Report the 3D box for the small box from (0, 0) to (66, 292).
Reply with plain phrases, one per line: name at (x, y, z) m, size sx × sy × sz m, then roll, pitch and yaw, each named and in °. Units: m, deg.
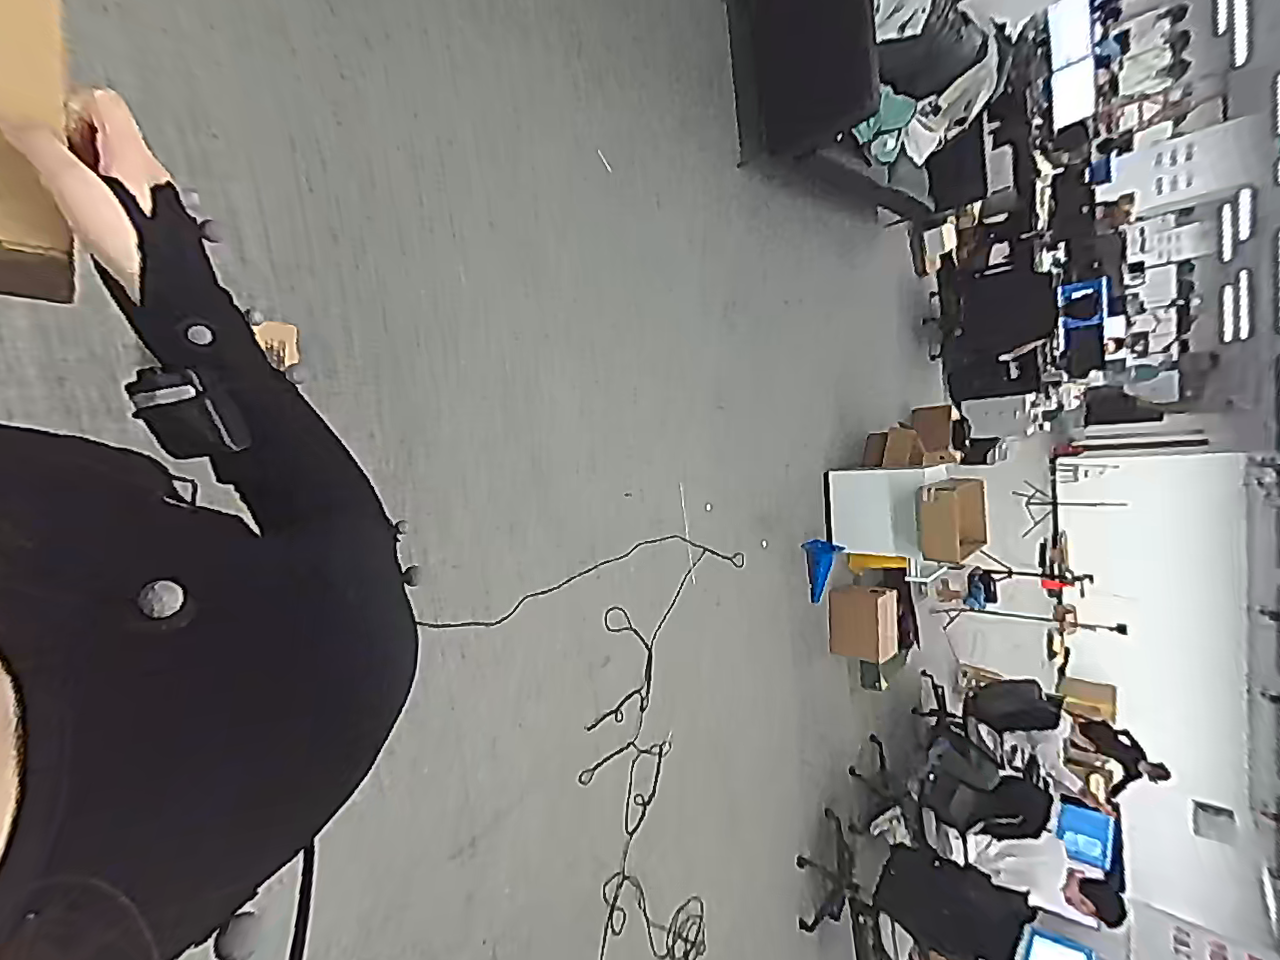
small box at (-0.479, -0.226, 0.333) m, size 0.168 × 0.176 × 0.179 m, roll -3°, pitch 97°, yaw -46°
